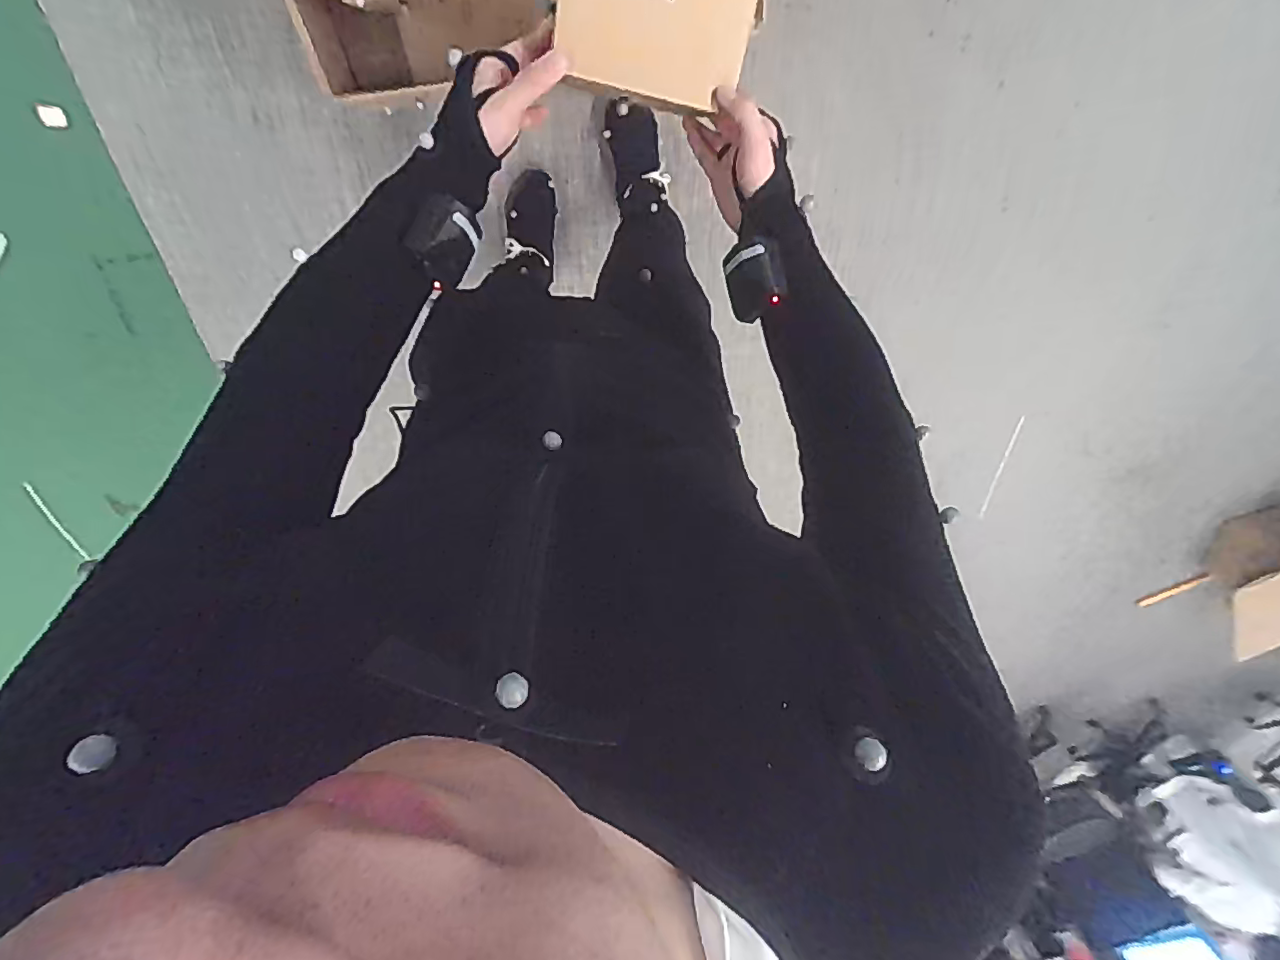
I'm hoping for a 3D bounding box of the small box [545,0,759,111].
[{"bbox_3d":[0.008,-0.458,0.487,0.168,0.176,0.179,4,124,-17],"label":"small box"}]
